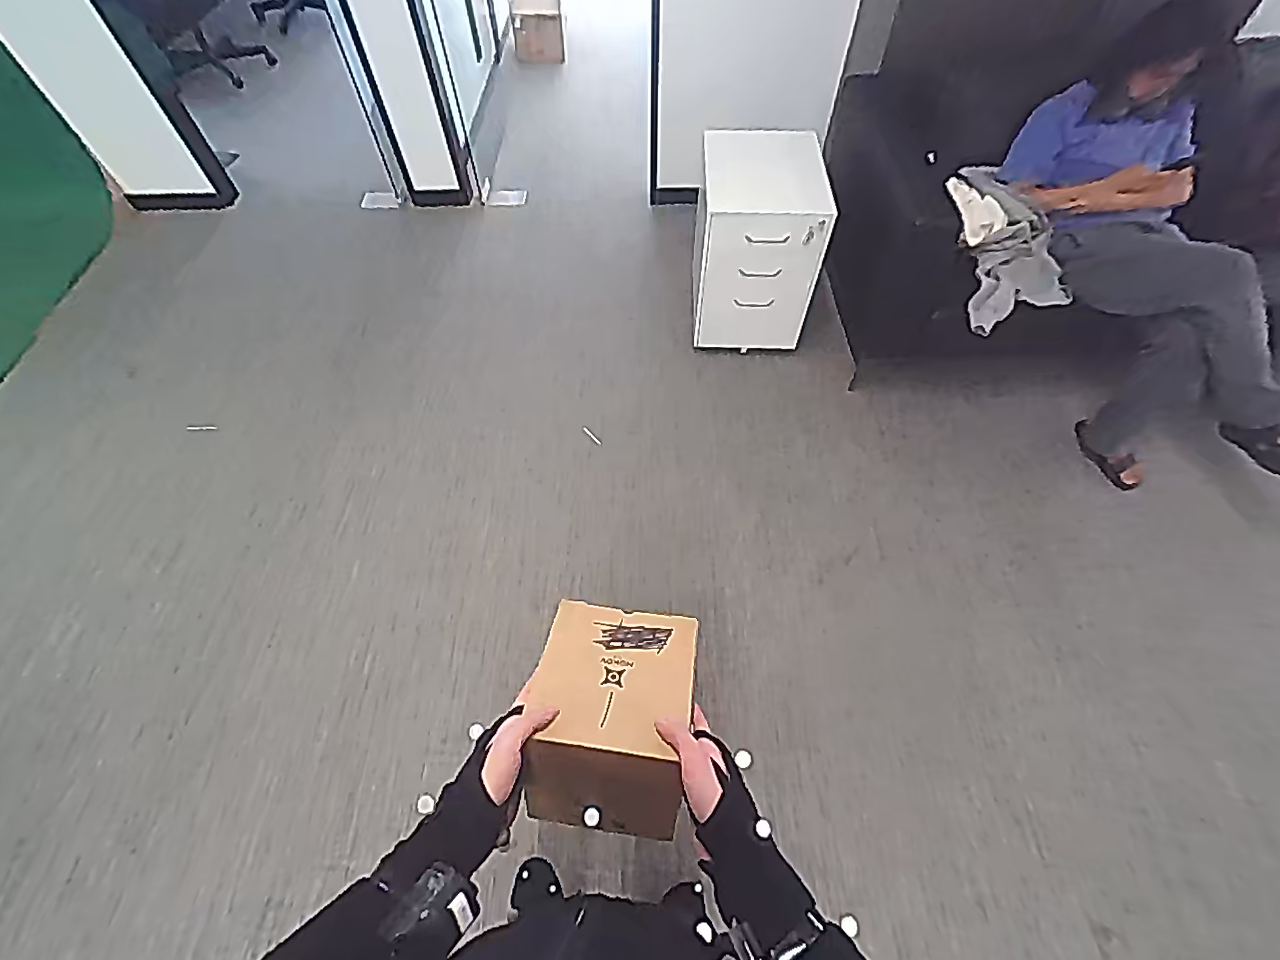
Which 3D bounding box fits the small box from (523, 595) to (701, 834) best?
[{"bbox_3d":[-0.025,0.262,0.618,0.168,0.176,0.179,6,34,5],"label":"small box"}]
